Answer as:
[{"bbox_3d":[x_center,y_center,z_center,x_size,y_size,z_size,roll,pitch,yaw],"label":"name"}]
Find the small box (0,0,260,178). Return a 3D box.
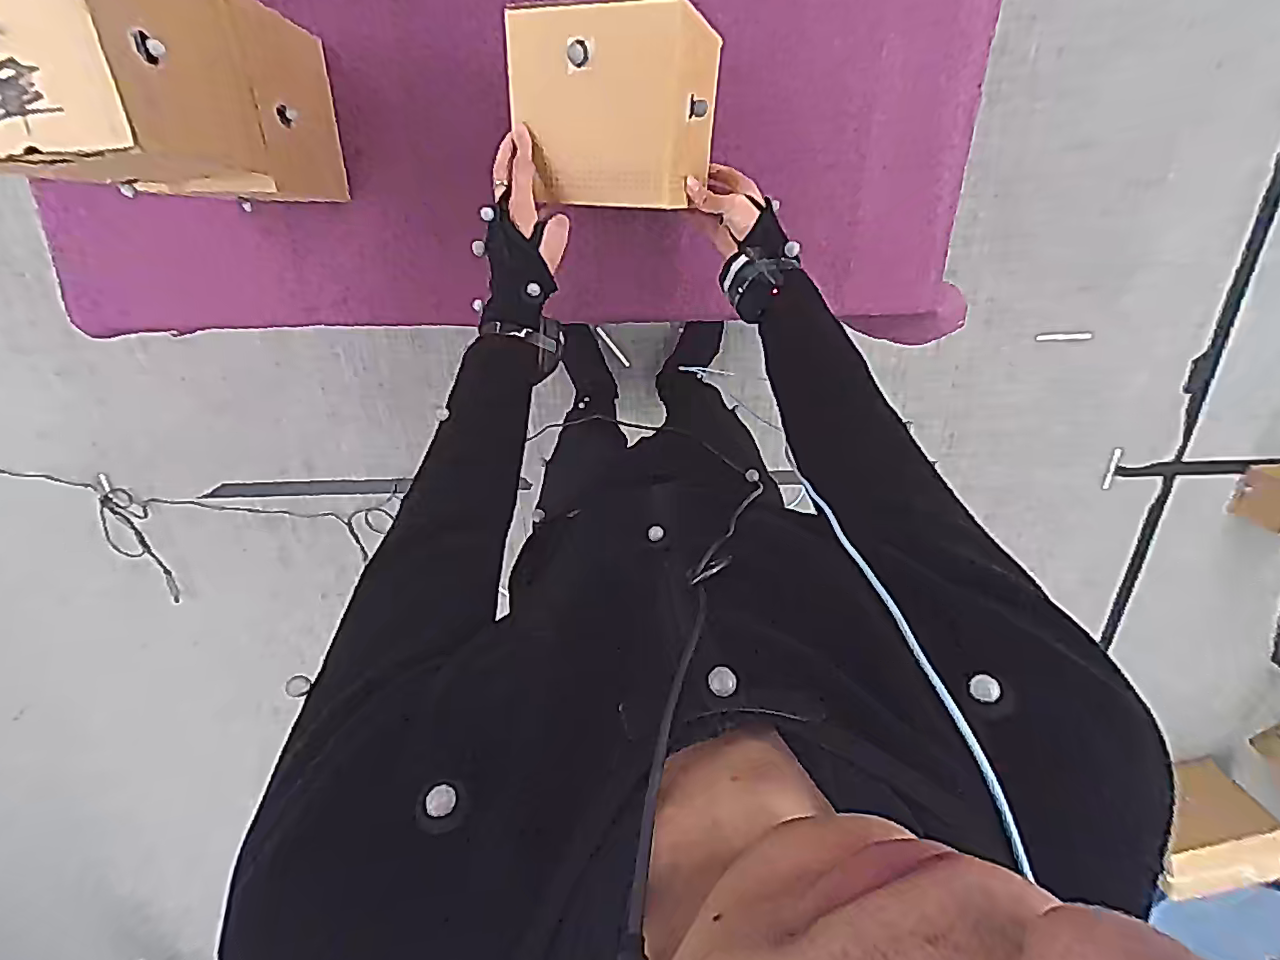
[{"bbox_3d":[-0.464,-0.356,0.448,0.168,0.176,0.179,-3,114,0],"label":"small box"}]

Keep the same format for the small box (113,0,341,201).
[{"bbox_3d":[-0.463,-0.413,0.602,0.168,0.176,0.179,0,114,-2],"label":"small box"}]

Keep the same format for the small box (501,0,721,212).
[{"bbox_3d":[-0.024,-0.387,0.583,0.179,0.168,0.176,12,121,17],"label":"small box"}]
